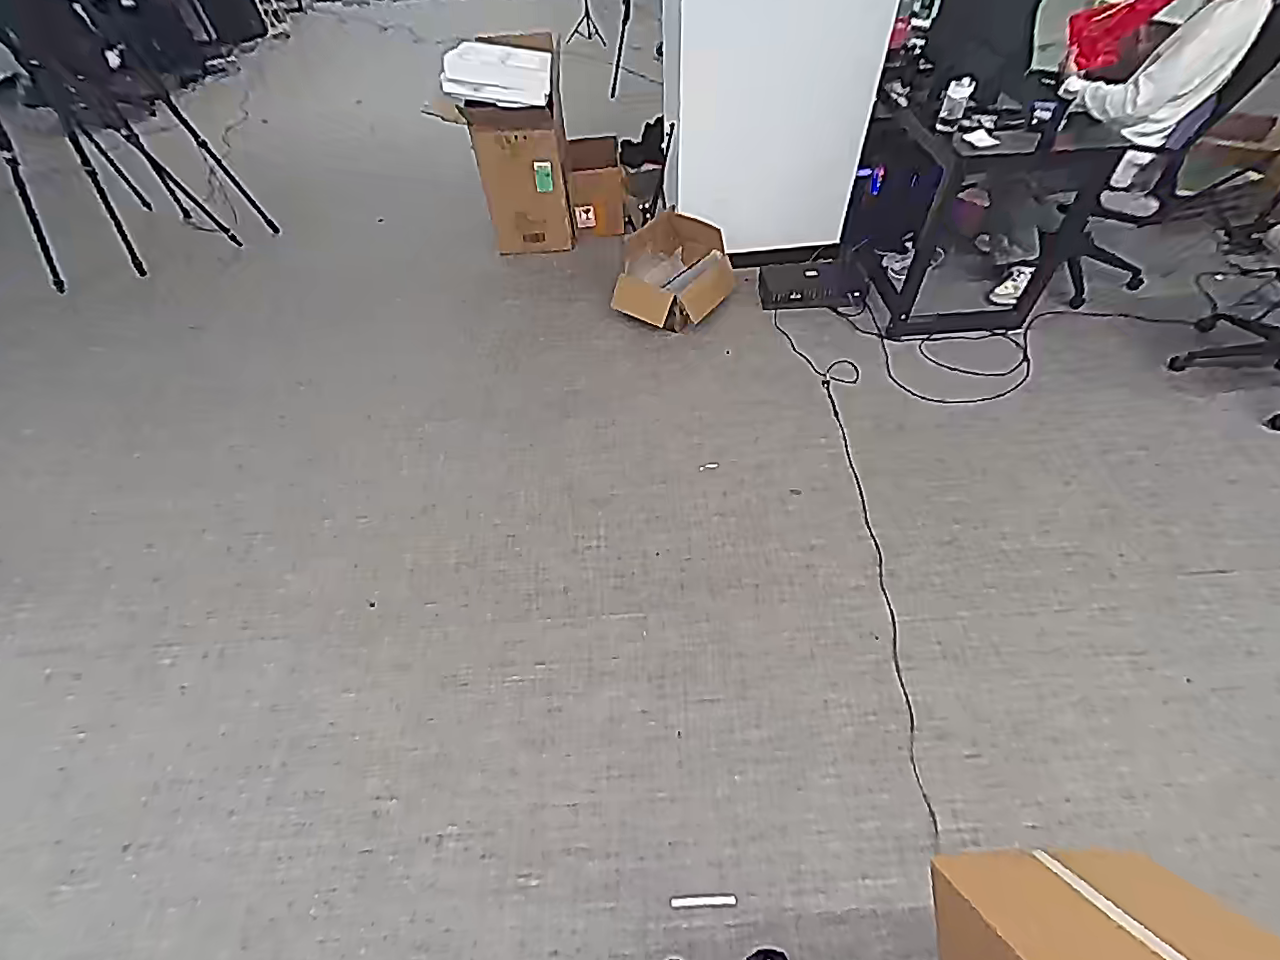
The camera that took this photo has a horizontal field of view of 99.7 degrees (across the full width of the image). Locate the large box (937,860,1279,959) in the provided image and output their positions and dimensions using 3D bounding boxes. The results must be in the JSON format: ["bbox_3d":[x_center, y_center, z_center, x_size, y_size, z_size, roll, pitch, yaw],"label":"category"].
[{"bbox_3d":[0.590,0.694,0.587,0.320,0.408,0.320,-2,84,0],"label":"large box"}]
